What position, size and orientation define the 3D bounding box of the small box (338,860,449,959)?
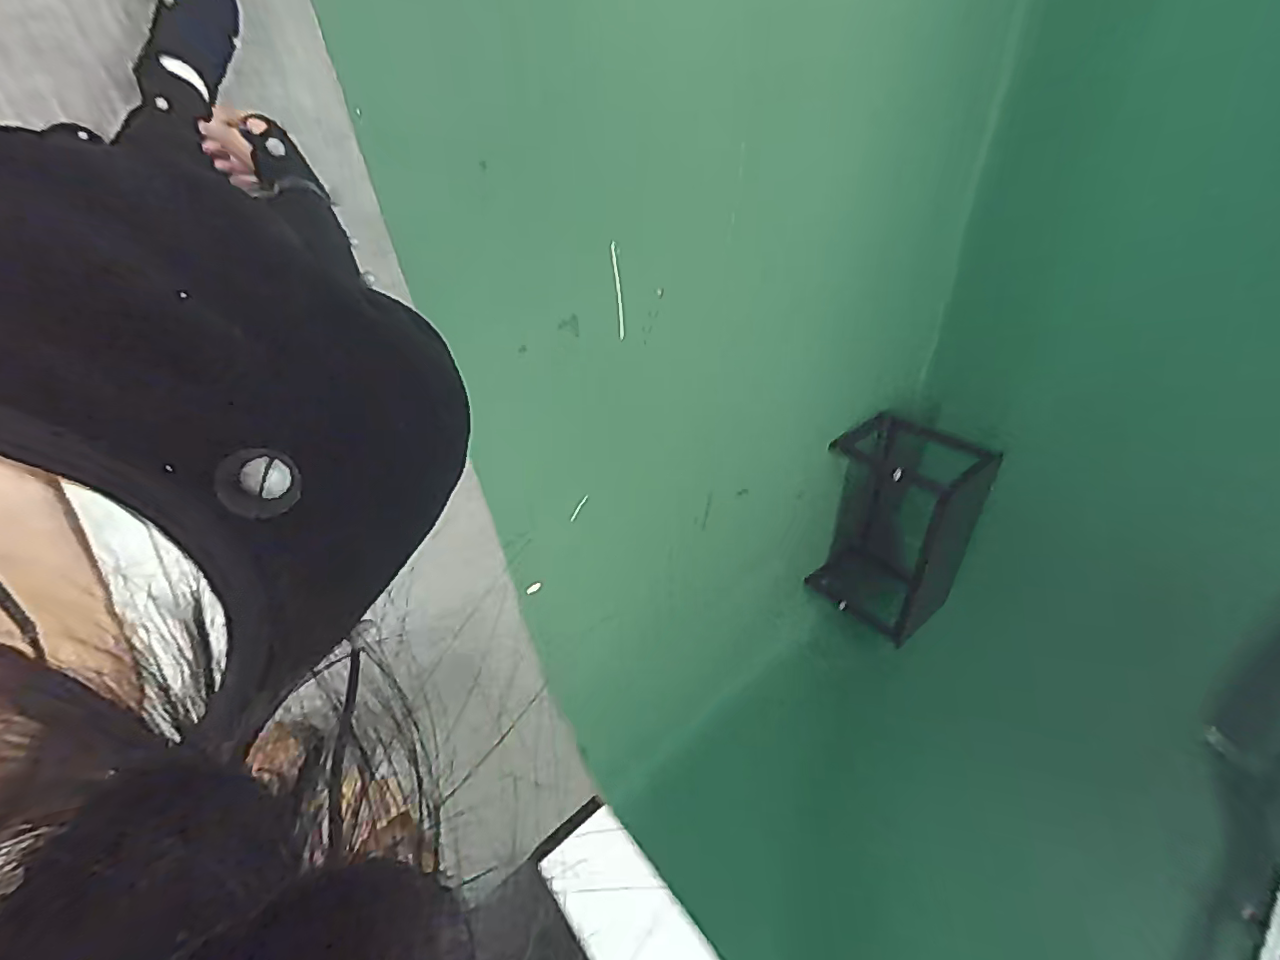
[{"bbox_3d":[-0.635,1.125,1.395,0.168,0.176,0.179,-43,137,-17],"label":"small box"}]
